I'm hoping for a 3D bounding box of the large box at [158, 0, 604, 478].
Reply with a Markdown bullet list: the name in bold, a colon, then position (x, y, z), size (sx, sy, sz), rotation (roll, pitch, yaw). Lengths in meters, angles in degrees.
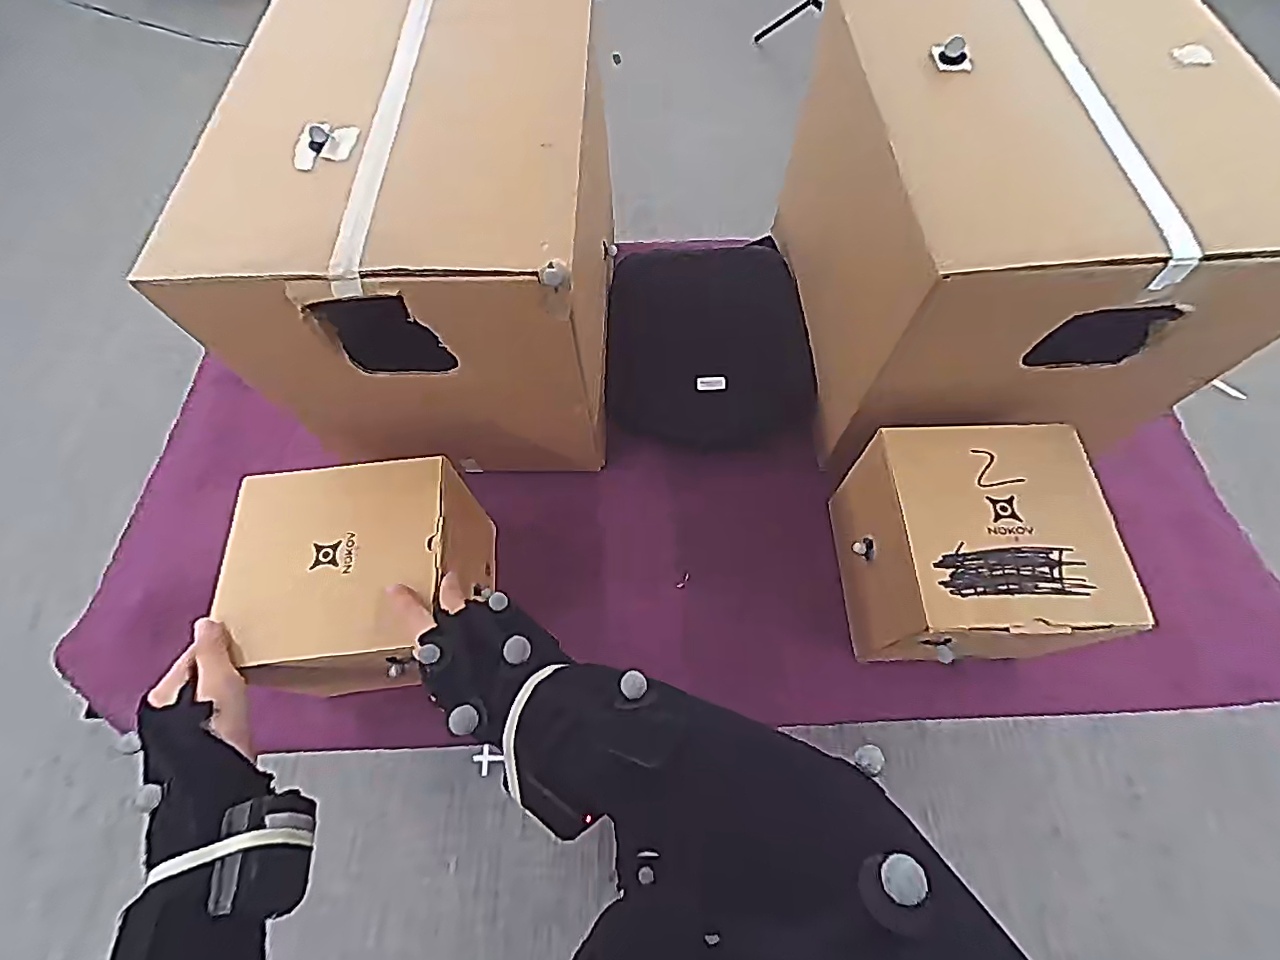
- **large box**: position (-0.202, -0.244, 0.604), size (0.320, 0.320, 0.408), rotation (-1, 67, 2)
